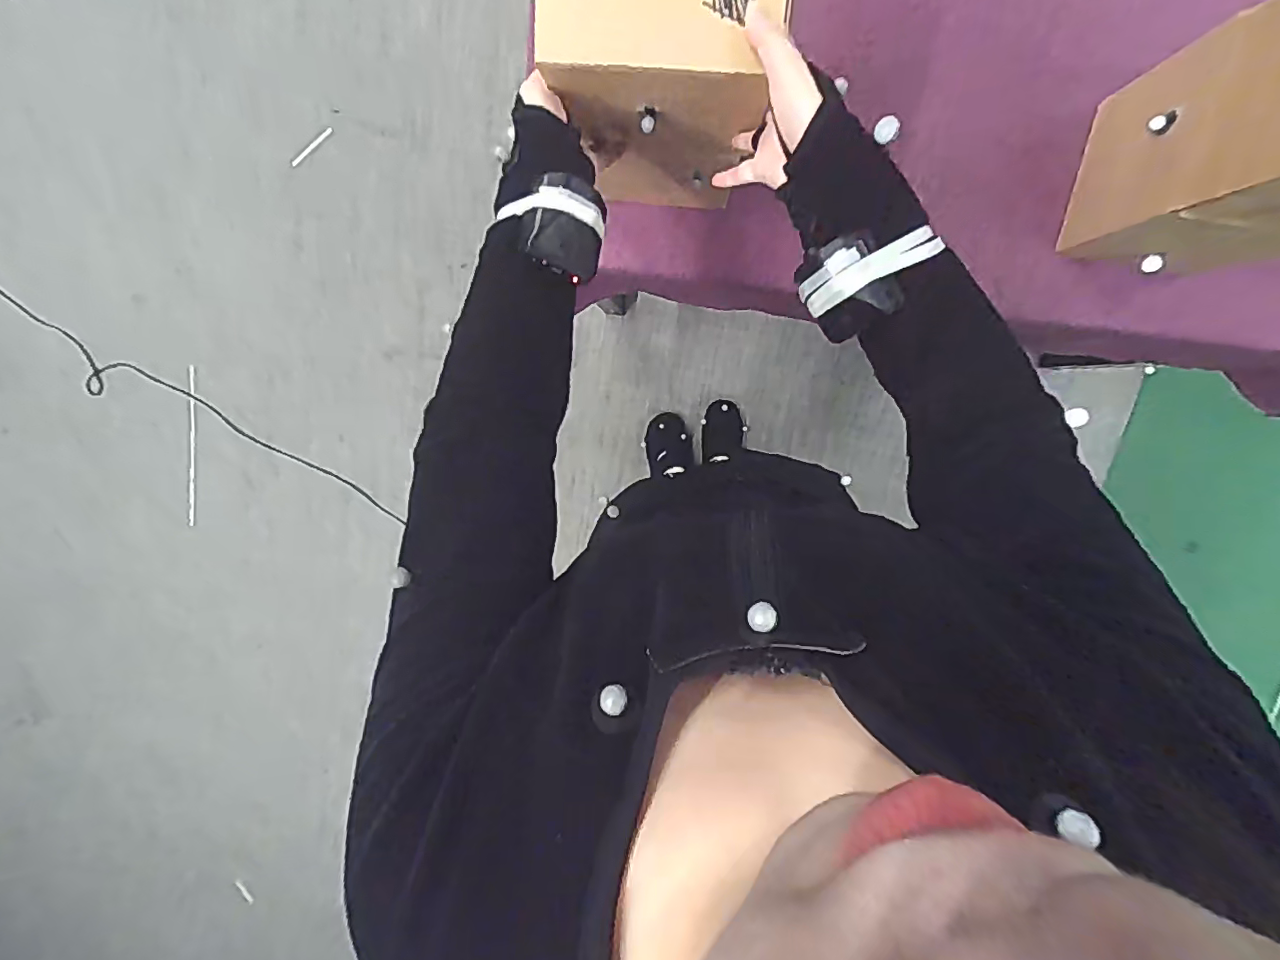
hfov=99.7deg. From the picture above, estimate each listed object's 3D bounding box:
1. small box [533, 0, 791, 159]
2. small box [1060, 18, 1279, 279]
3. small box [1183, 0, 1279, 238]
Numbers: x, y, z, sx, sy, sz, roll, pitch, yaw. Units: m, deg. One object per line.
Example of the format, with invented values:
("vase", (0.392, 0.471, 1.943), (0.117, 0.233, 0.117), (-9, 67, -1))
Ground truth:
("small box", (0.021, -0.376, 0.435), (0.179, 0.176, 0.168), (5, 105, 3))
("small box", (0.603, -0.332, 0.578), (0.168, 0.176, 0.179), (11, 101, 2))
("small box", (0.595, -0.303, 0.418), (0.168, 0.176, 0.179), (11, 102, 2))
